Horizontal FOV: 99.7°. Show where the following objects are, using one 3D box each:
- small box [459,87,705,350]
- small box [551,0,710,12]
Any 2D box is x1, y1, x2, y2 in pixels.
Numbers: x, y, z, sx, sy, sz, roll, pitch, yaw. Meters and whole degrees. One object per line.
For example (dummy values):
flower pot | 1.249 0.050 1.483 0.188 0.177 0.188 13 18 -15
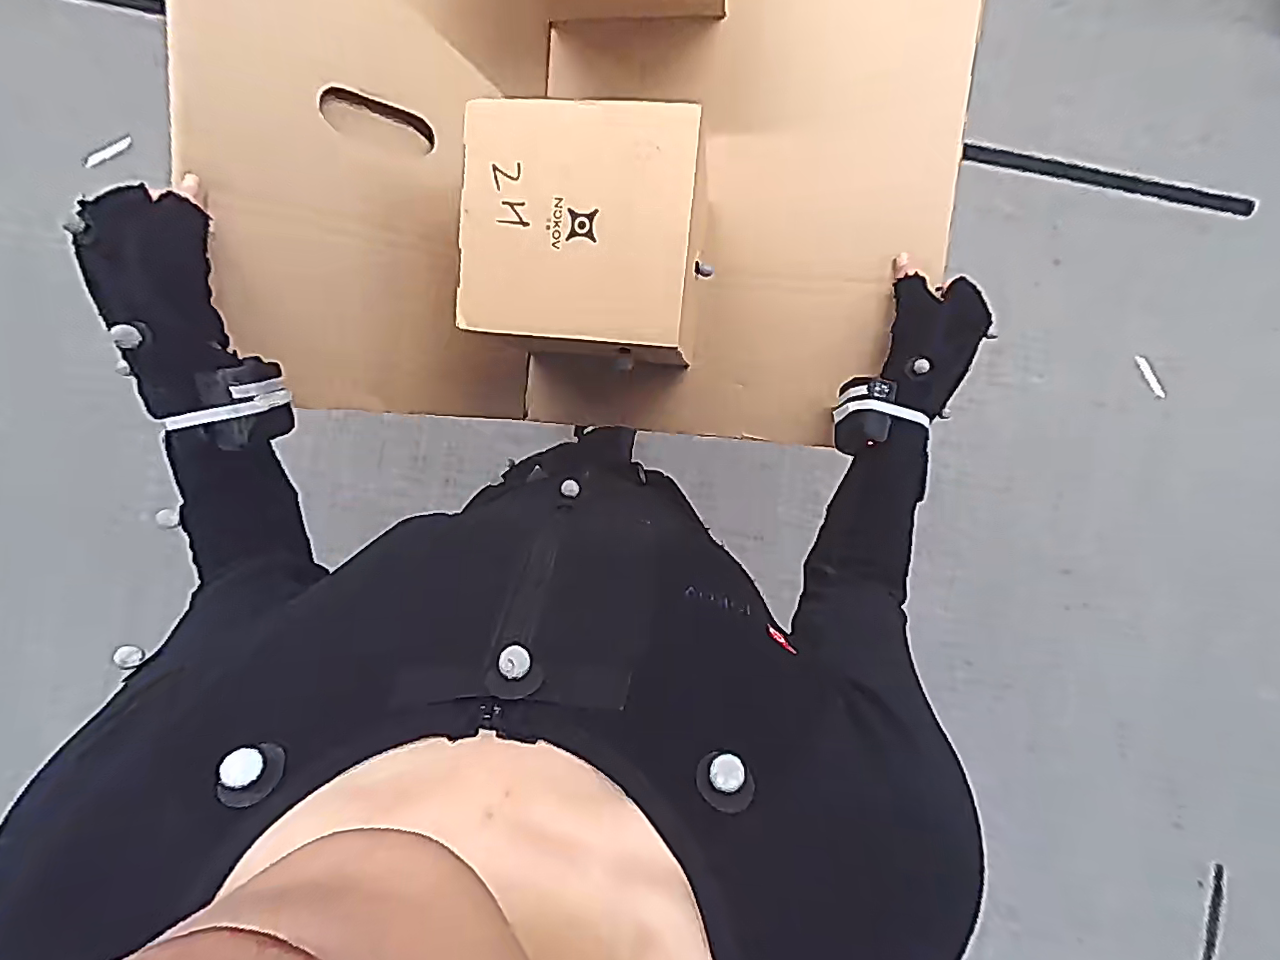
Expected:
small box | -0.038 -0.212 0.483 0.179 0.176 0.168 7 98 8
small box | -0.013 -0.528 0.440 0.179 0.176 0.168 5 98 8
